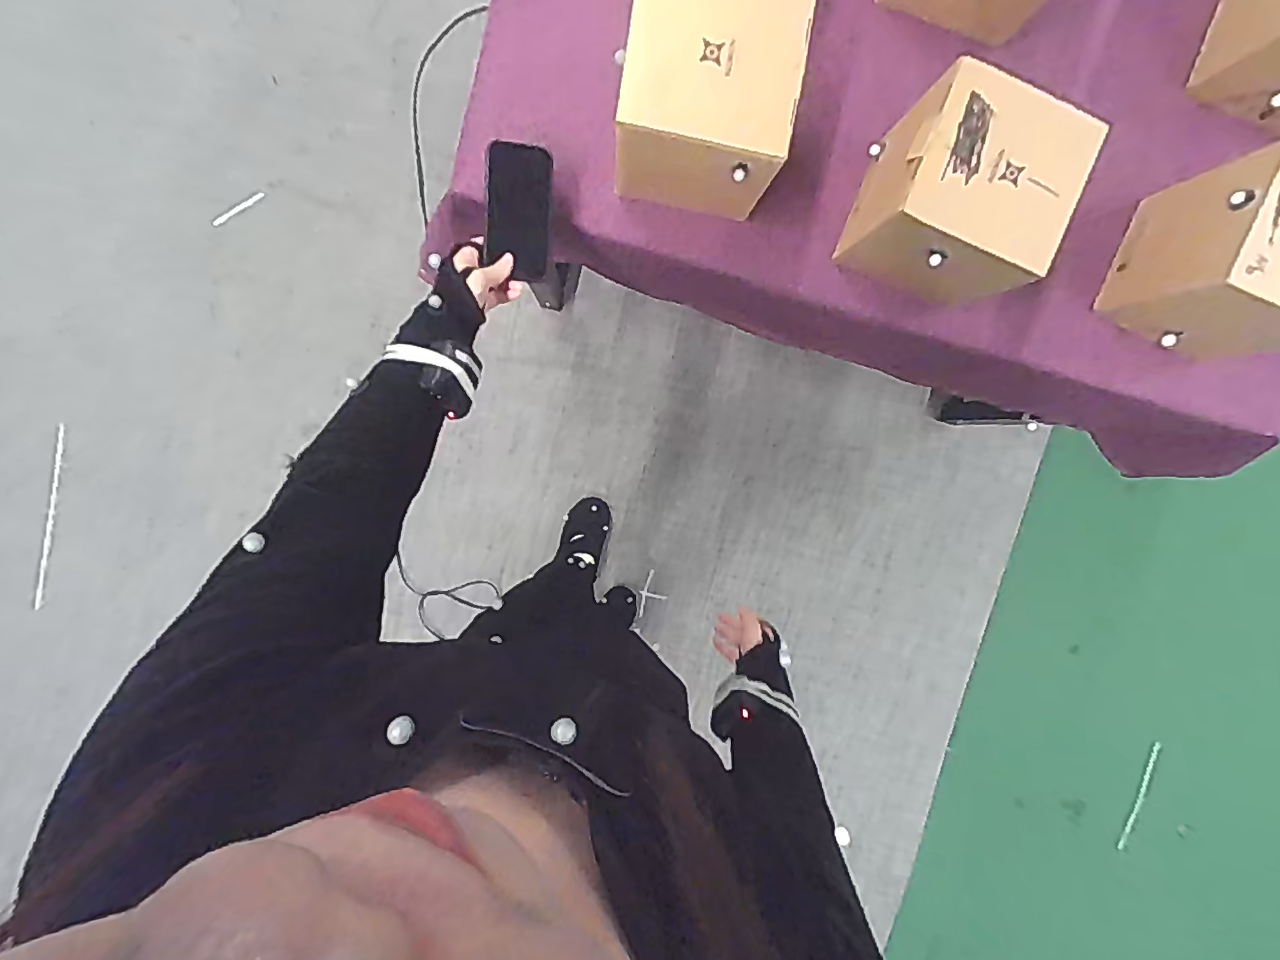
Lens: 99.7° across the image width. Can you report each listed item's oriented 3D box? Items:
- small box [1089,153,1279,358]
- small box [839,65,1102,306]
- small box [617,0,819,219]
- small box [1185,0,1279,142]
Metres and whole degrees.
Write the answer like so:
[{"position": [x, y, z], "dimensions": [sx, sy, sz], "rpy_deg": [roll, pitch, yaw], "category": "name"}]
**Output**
[{"position": [0.733, -0.262, 0.675], "dimensions": [0.179, 0.176, 0.168], "rpy_deg": [22, 94, -7], "category": "small box"}, {"position": [0.369, -0.325, 0.640], "dimensions": [0.179, 0.176, 0.168], "rpy_deg": [21, 94, -7], "category": "small box"}, {"position": [0.072, -0.419, 0.609], "dimensions": [0.179, 0.176, 0.168], "rpy_deg": [9, 95, -6], "category": "small box"}, {"position": [0.832, -0.559, 0.650], "dimensions": [0.168, 0.176, 0.179], "rpy_deg": [19, 95, -5], "category": "small box"}]
